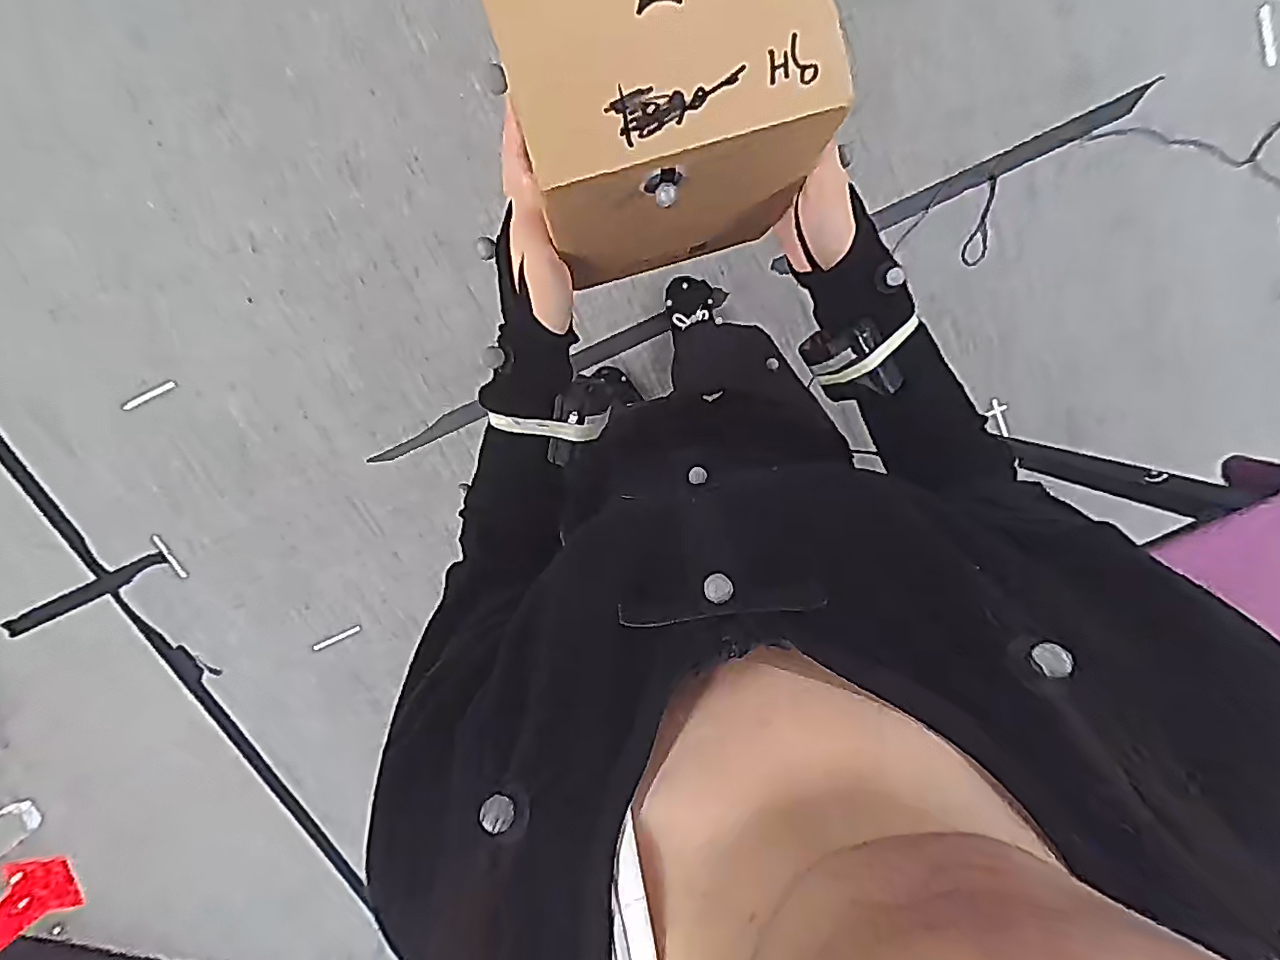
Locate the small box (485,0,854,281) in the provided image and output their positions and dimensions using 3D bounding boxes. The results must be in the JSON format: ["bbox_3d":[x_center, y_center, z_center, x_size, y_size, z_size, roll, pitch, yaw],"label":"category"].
[{"bbox_3d":[0.001,-0.254,0.339,0.168,0.176,0.179,-17,93,-1],"label":"small box"}]
